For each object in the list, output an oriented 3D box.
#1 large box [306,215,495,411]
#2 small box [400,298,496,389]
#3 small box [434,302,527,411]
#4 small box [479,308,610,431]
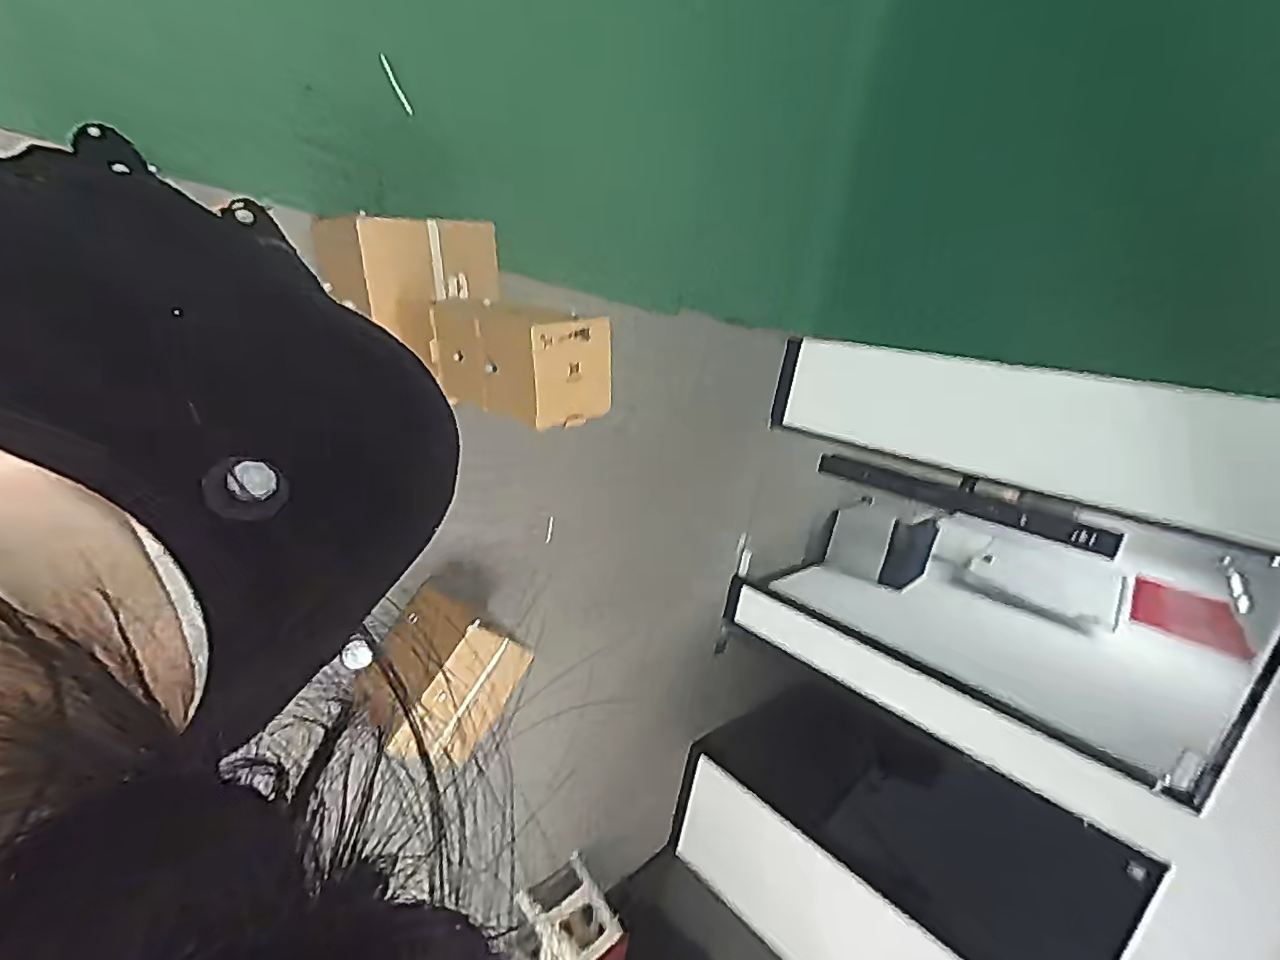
[{"bbox_3d":[-0.567,-0.416,1.328,0.320,0.320,0.408,-21,121,-42],"label":"large box"},{"bbox_3d":[-0.406,-0.302,1.178,0.179,0.176,0.168,-20,121,-41],"label":"small box"},{"bbox_3d":[-0.289,-0.252,1.076,0.168,0.176,0.179,-21,121,-40],"label":"small box"},{"bbox_3d":[-0.171,-0.206,0.970,0.168,0.176,0.179,-20,122,-41],"label":"small box"}]
